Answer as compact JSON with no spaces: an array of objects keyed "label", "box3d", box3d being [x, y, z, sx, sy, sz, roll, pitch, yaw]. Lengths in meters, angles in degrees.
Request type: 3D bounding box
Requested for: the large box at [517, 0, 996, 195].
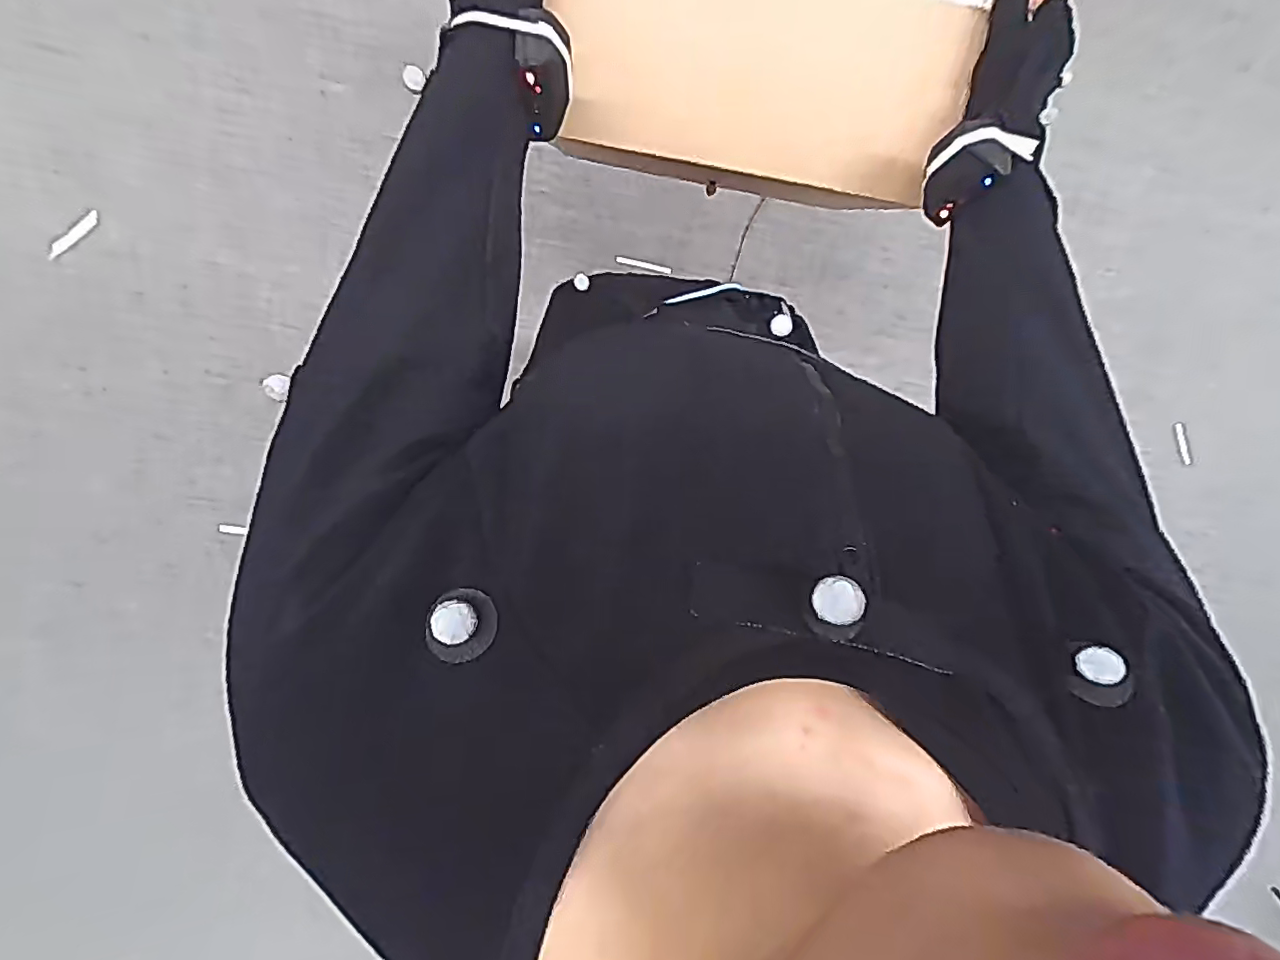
[{"label":"large box","box3d":[0.111,-0.506,0.574,0.408,0.320,0.320,10,116,-3]}]
